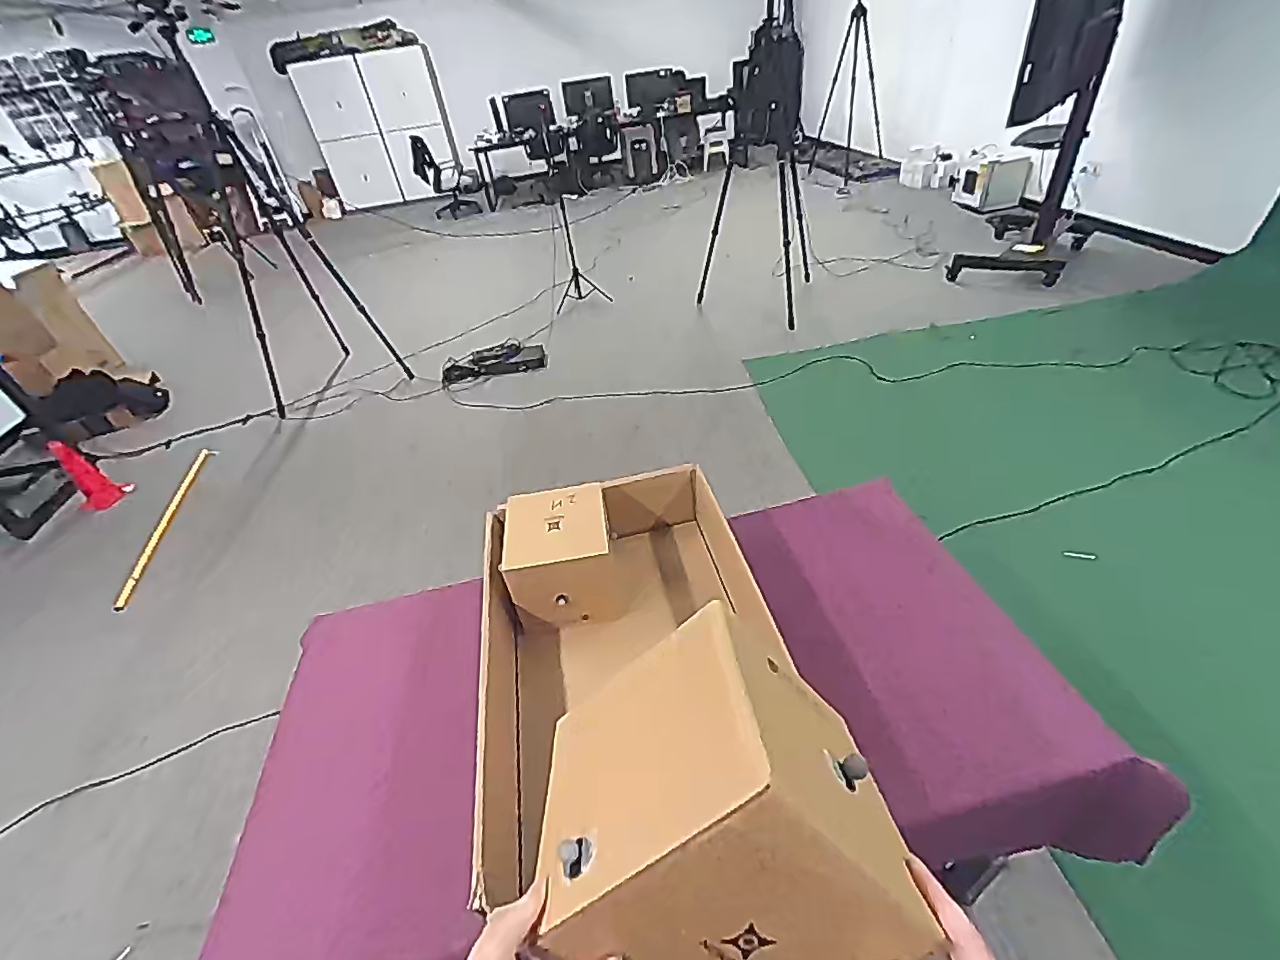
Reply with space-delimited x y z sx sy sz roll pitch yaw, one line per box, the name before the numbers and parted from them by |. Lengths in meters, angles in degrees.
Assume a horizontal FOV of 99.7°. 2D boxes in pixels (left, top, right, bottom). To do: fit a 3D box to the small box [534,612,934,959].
small box | 0.053 0.230 0.384 0.179 0.168 0.176 -42 15 14
